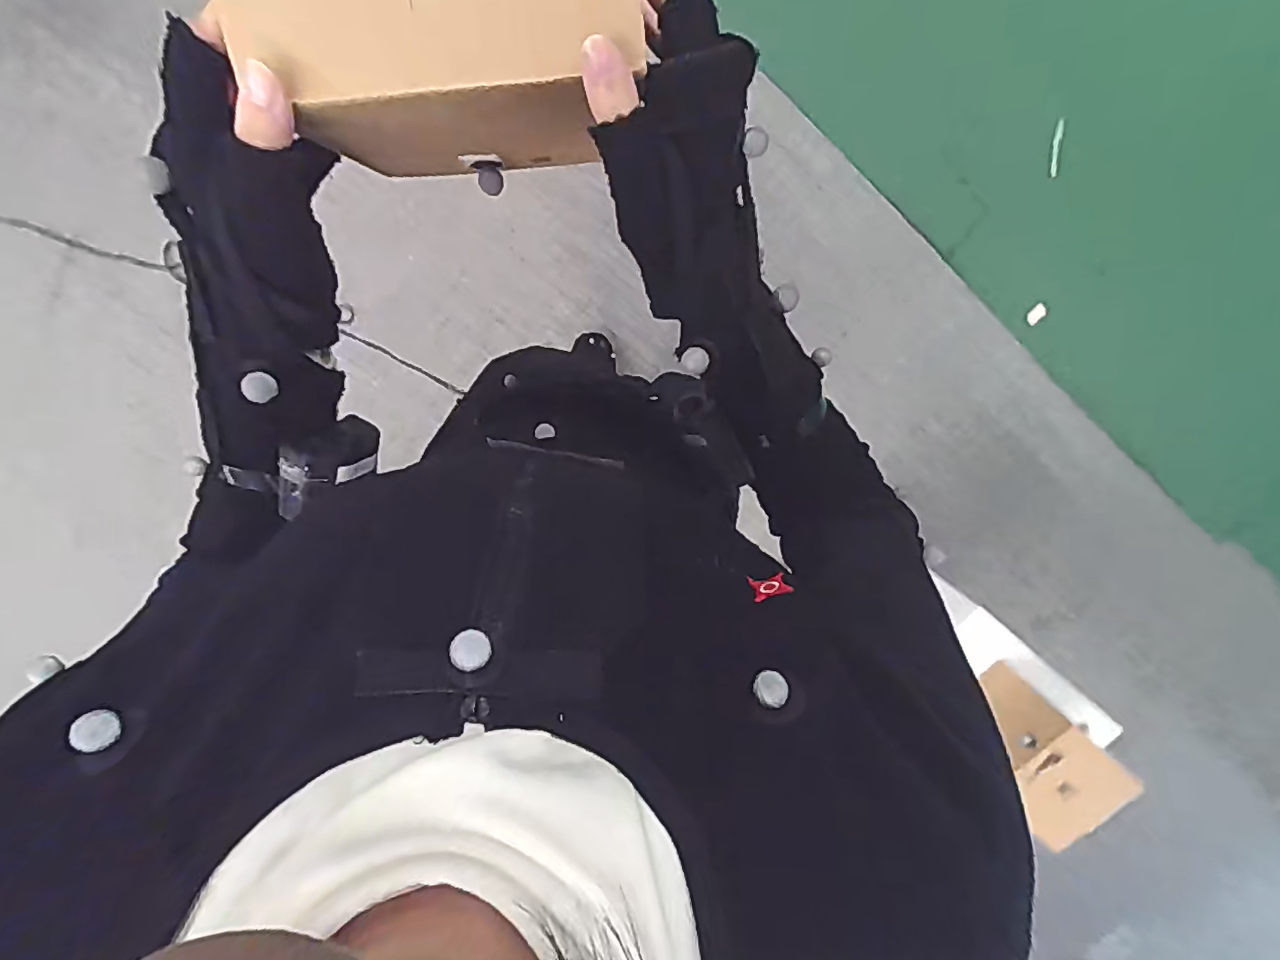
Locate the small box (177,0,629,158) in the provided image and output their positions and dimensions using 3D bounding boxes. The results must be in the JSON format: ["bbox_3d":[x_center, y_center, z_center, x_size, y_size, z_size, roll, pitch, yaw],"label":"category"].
[{"bbox_3d":[-0.098,-0.273,0.251,0.168,0.176,0.179,-6,110,-1],"label":"small box"}]

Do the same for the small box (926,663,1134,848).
[{"bbox_3d":[0.618,0.436,0.879,0.179,0.176,0.168,41,99,-12],"label":"small box"}]
